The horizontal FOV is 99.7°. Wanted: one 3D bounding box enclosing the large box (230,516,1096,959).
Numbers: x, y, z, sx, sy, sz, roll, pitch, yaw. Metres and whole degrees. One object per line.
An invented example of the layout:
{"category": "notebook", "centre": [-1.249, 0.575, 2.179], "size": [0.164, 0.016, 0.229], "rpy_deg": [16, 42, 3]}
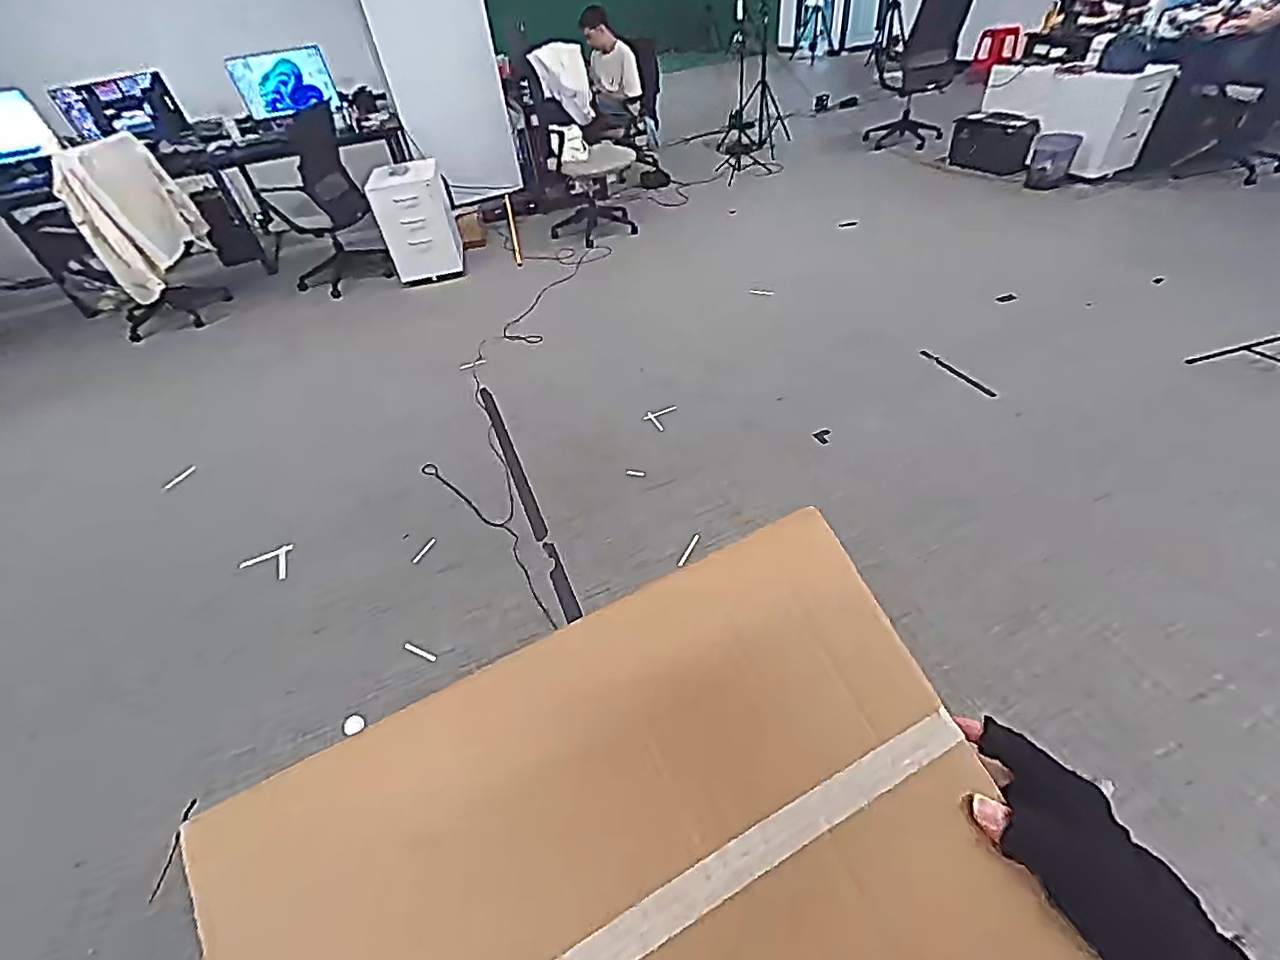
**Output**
{"category": "large box", "centre": [0.005, 0.287, 0.436], "size": [0.408, 0.320, 0.320], "rpy_deg": [-25, 74, -12]}
